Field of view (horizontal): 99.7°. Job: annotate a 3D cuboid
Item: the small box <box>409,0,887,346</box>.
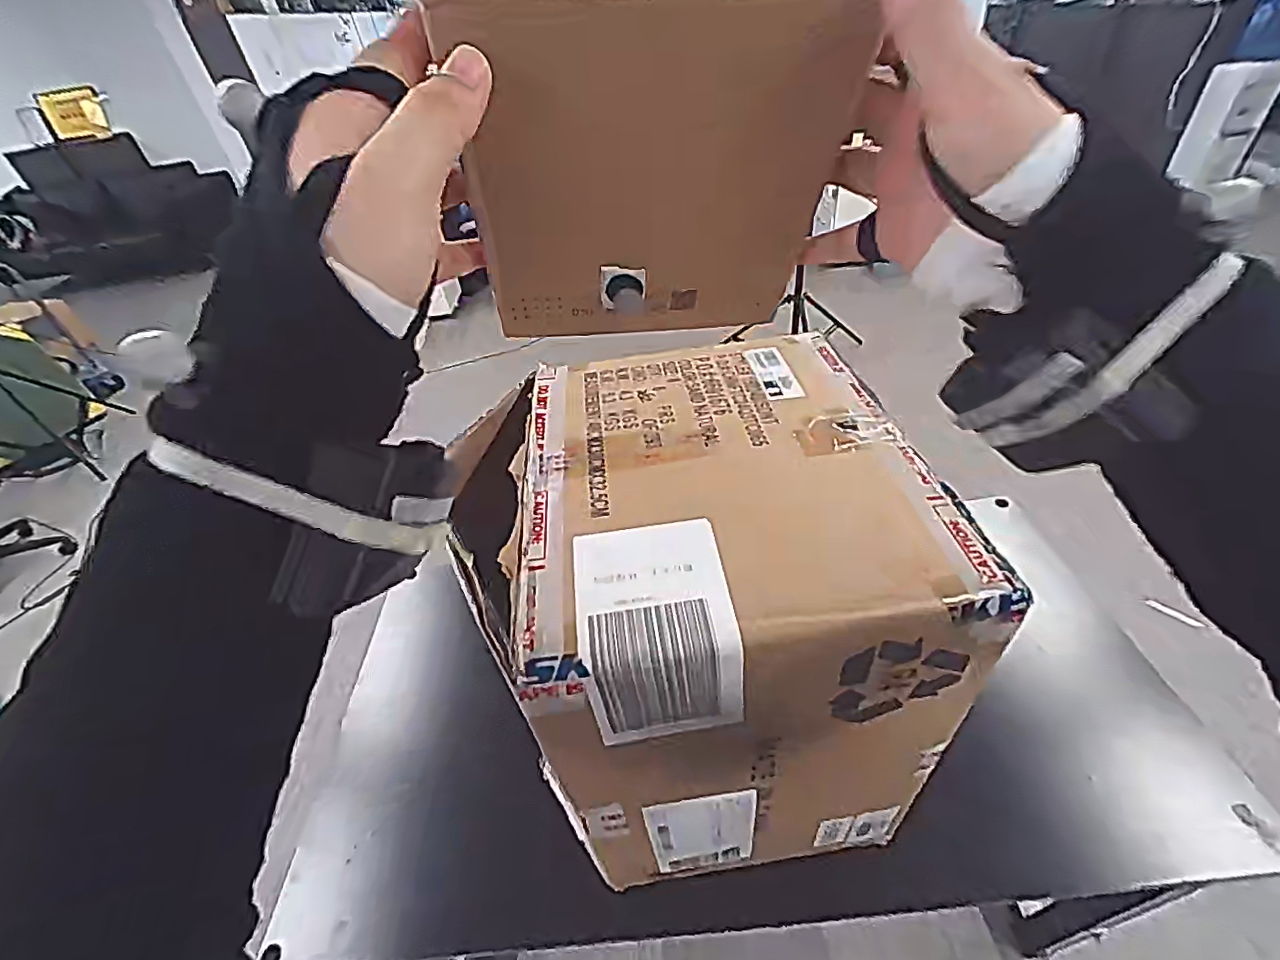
[{"bbox_3d":[-0.008,-0.196,0.287,0.168,0.176,0.179,-5,65,-5],"label":"small box"}]
